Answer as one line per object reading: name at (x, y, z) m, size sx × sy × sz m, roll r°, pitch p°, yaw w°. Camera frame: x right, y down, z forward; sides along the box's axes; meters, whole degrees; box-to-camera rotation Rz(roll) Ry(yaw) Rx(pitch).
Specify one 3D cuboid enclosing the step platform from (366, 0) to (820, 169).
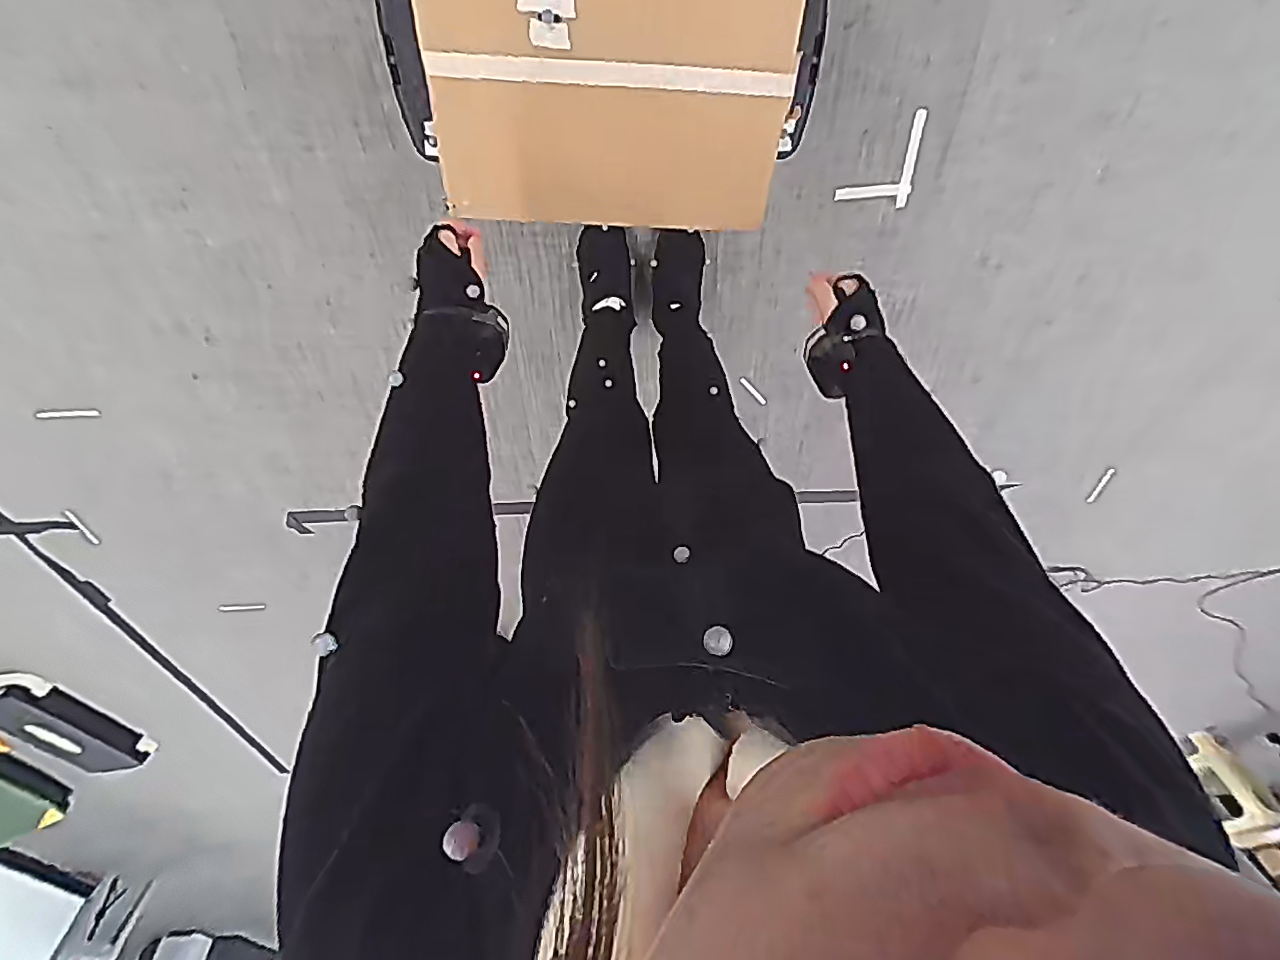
step platform at (-0.068, -0.687, 0.885) m, size 0.684 × 0.204 × 0.286 m, roll 3°, pitch 130°, yaw -5°

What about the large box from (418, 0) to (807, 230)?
large box at (-0.031, -0.537, 0.700) m, size 0.408 × 0.320 × 0.320 m, roll 1°, pitch 129°, yaw -3°
